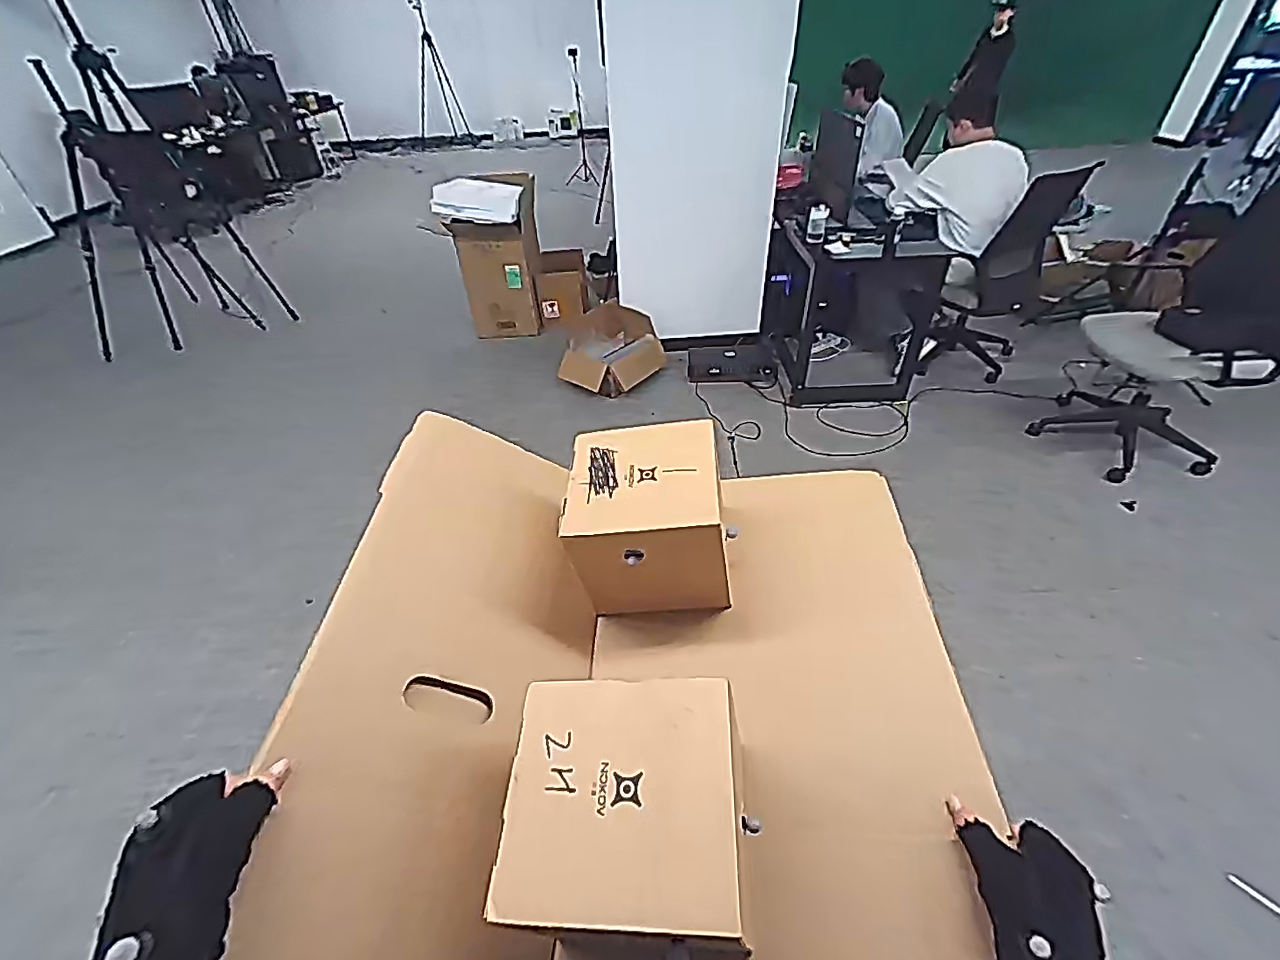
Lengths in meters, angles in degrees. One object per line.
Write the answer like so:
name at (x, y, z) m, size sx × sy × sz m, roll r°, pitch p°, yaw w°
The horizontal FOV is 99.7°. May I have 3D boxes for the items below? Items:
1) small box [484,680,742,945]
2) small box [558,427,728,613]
small box at (-0.003, 0.288, 0.470) m, size 0.179 × 0.176 × 0.168 m, roll -5°, pitch 46°, yaw 11°
small box at (0.014, 0.056, 0.687) m, size 0.179 × 0.176 × 0.168 m, roll -5°, pitch 46°, yaw 9°
